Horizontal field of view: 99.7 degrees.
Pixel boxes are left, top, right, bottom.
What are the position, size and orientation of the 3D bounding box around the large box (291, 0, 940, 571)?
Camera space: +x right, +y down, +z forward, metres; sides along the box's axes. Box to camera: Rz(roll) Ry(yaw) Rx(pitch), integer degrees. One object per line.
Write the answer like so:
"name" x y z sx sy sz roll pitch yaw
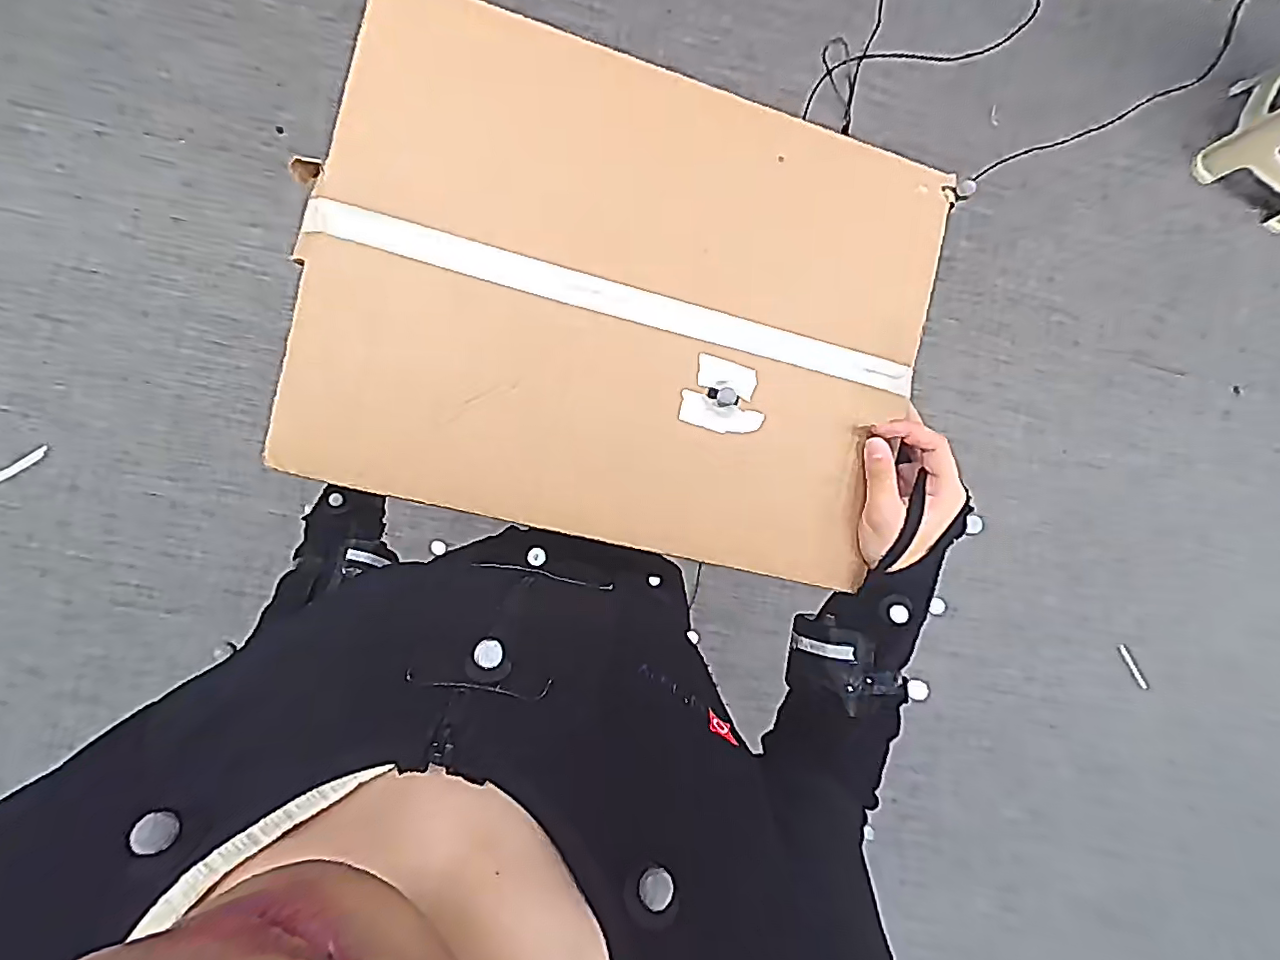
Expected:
"large box" -0.024 -0.124 0.513 0.408 0.320 0.320 13 90 -11
